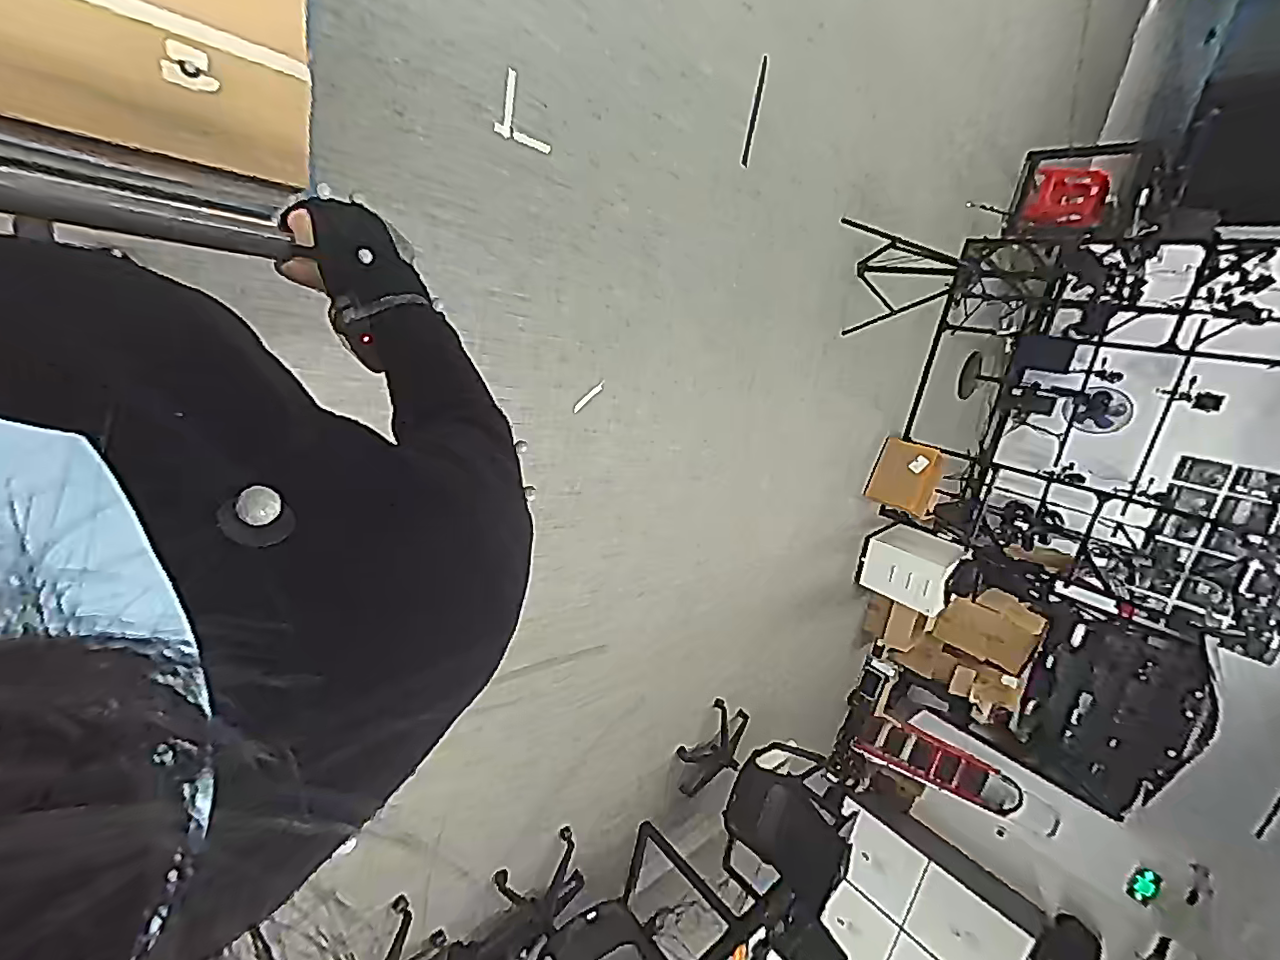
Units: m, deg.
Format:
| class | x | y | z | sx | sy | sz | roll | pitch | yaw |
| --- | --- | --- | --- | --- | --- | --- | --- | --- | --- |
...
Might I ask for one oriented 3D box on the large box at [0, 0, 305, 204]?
| class | x | y | z | sx | sy | sz | roll | pitch | yaw |
| --- | --- | --- | --- | --- | --- | --- | --- | --- | --- |
| large box | -0.734 | -0.604 | 0.745 | 0.408 | 0.320 | 0.320 | -6 | 112 | -44 |
